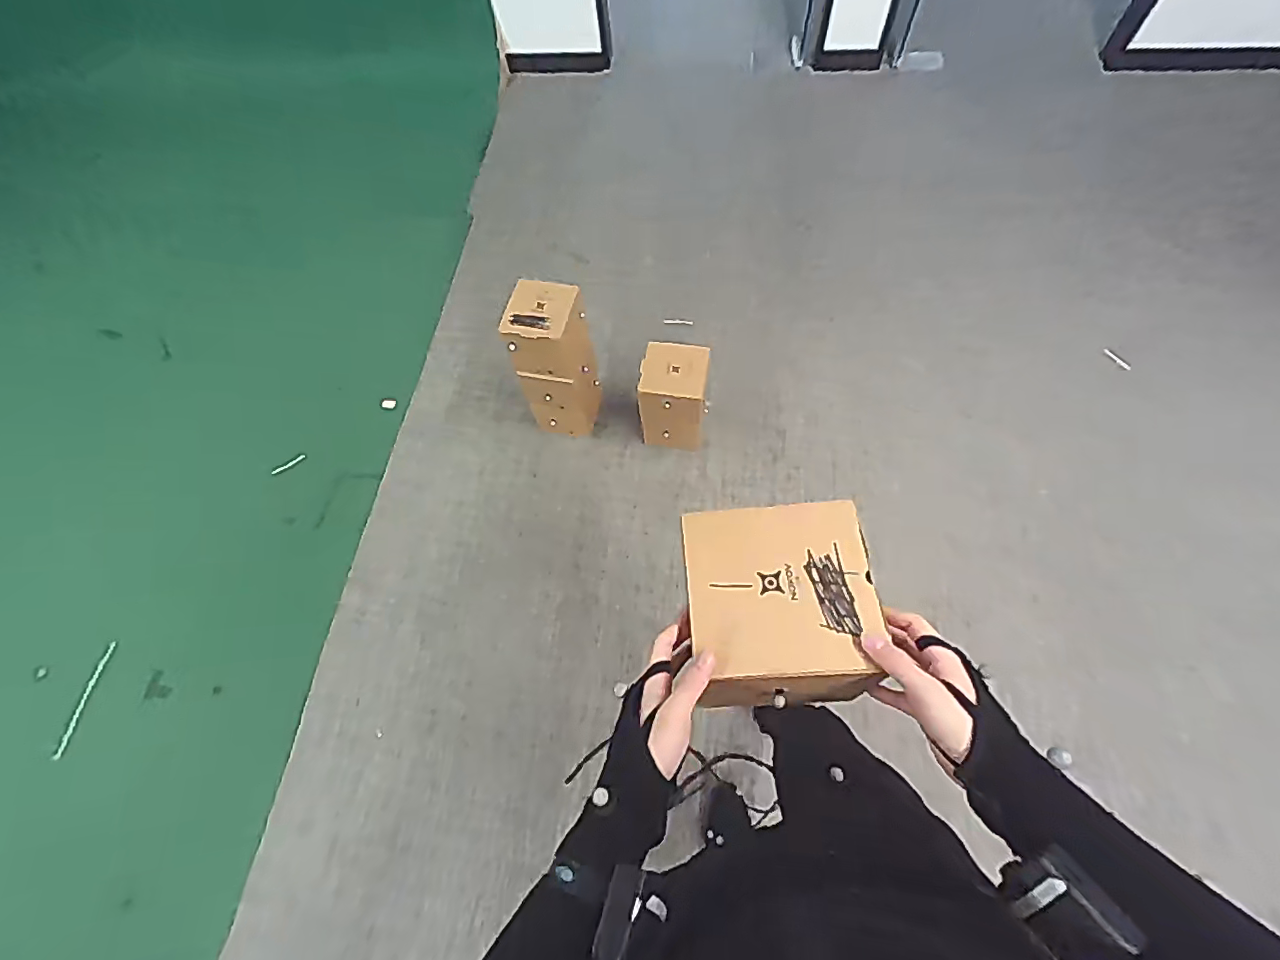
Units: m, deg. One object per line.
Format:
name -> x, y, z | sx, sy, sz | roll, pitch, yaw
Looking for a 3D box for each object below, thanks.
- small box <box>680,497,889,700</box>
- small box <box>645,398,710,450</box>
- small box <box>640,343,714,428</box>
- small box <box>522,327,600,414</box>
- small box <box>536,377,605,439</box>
small box -> 0.137, 0.134, 0.583 | 0.179, 0.176, 0.168 | -5, 58, 5
small box -> 0.122, -0.205, 1.679 | 0.179, 0.176, 0.168 | 7, 67, 9
small box -> 0.107, -0.261, 1.525 | 0.179, 0.176, 0.168 | 9, 68, 8
small box -> -0.223, -0.314, 1.579 | 0.168, 0.176, 0.179 | 11, 67, 9
small box -> -0.215, -0.249, 1.730 | 0.168, 0.176, 0.179 | 9, 67, 9
